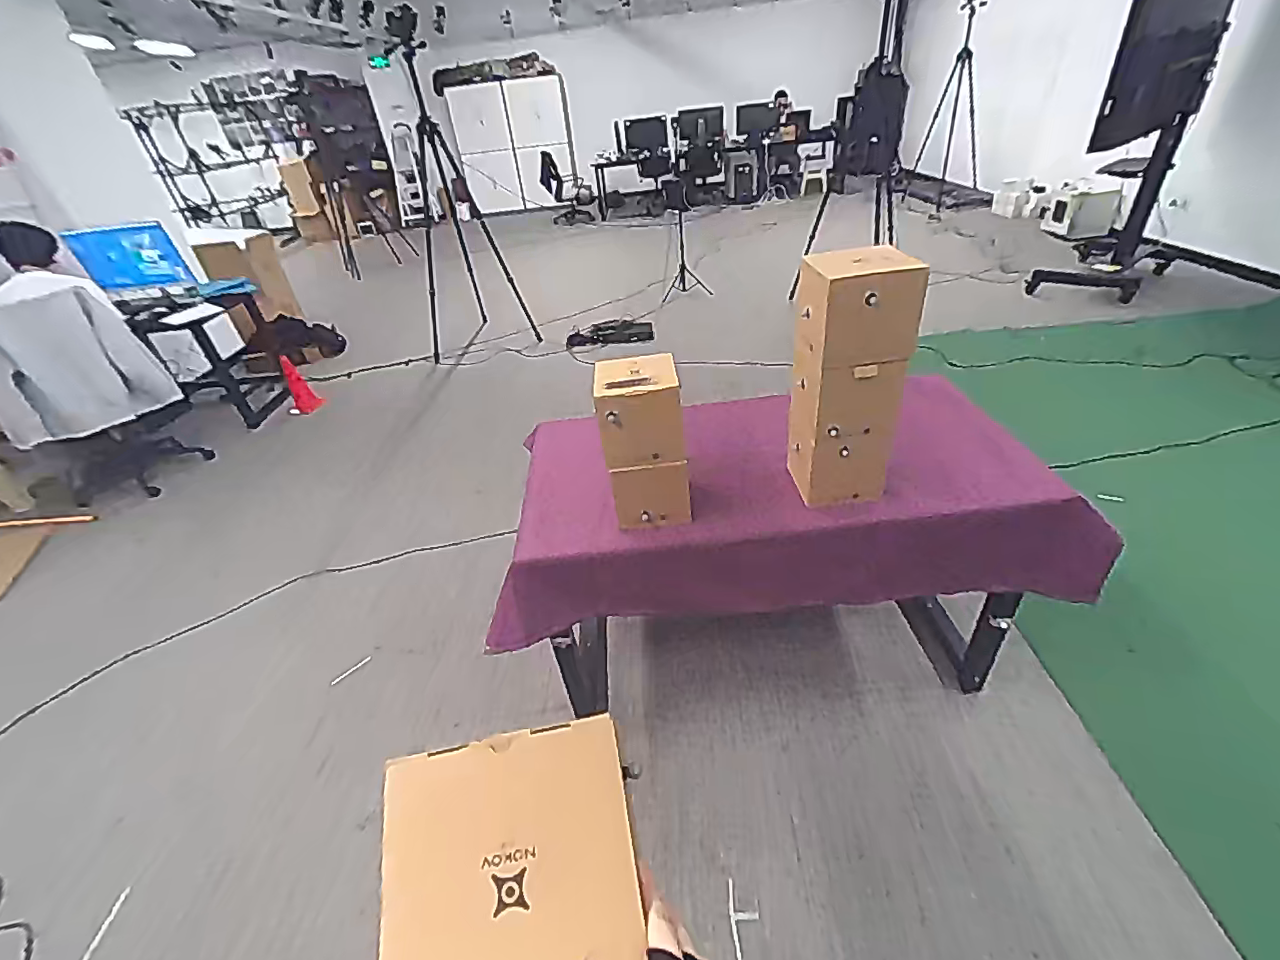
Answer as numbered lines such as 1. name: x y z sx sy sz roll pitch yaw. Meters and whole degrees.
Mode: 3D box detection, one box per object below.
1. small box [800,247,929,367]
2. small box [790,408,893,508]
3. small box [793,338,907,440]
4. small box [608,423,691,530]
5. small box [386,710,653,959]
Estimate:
1. small box: 0.407 -0.323 1.017 0.179 0.176 0.168 -6 37 1
2. small box: 0.439 -0.060 1.212 0.168 0.176 0.179 -8 35 2
3. small box: 0.423 -0.193 1.117 0.168 0.176 0.179 -7 35 1
4. small box: 0.022 -0.009 1.220 0.168 0.176 0.179 -6 36 2
5. small box: -0.083 0.297 0.429 0.168 0.176 0.179 -10 62 -6
